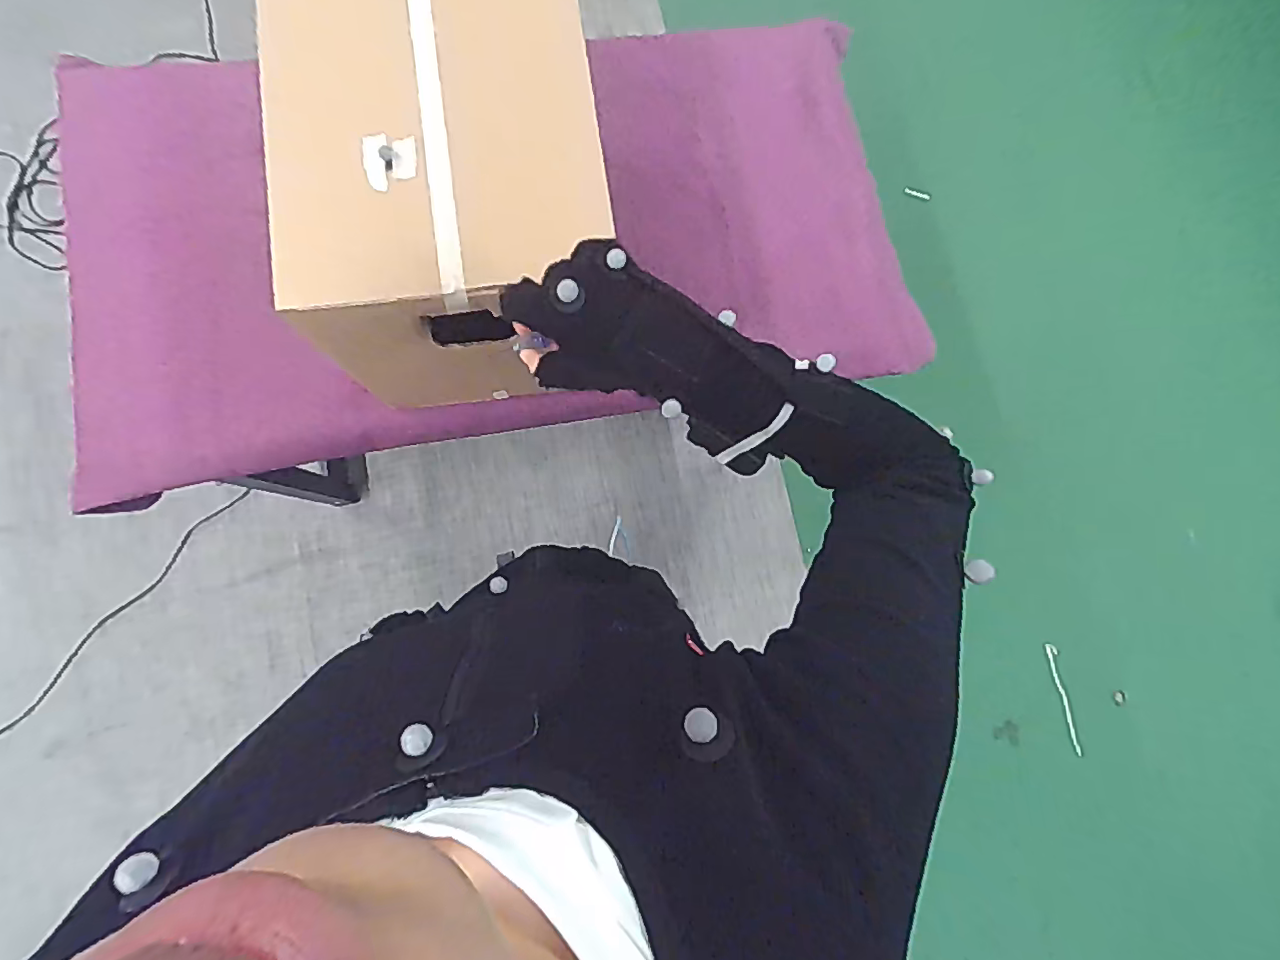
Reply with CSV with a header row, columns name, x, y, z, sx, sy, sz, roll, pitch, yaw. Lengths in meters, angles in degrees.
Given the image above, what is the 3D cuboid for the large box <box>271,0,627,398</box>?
name,x,y,z,sx,sy,sz,roll,pitch,yaw
large box,-0.212,-0.351,0.684,0.320,0.320,0.408,-7,83,-7
